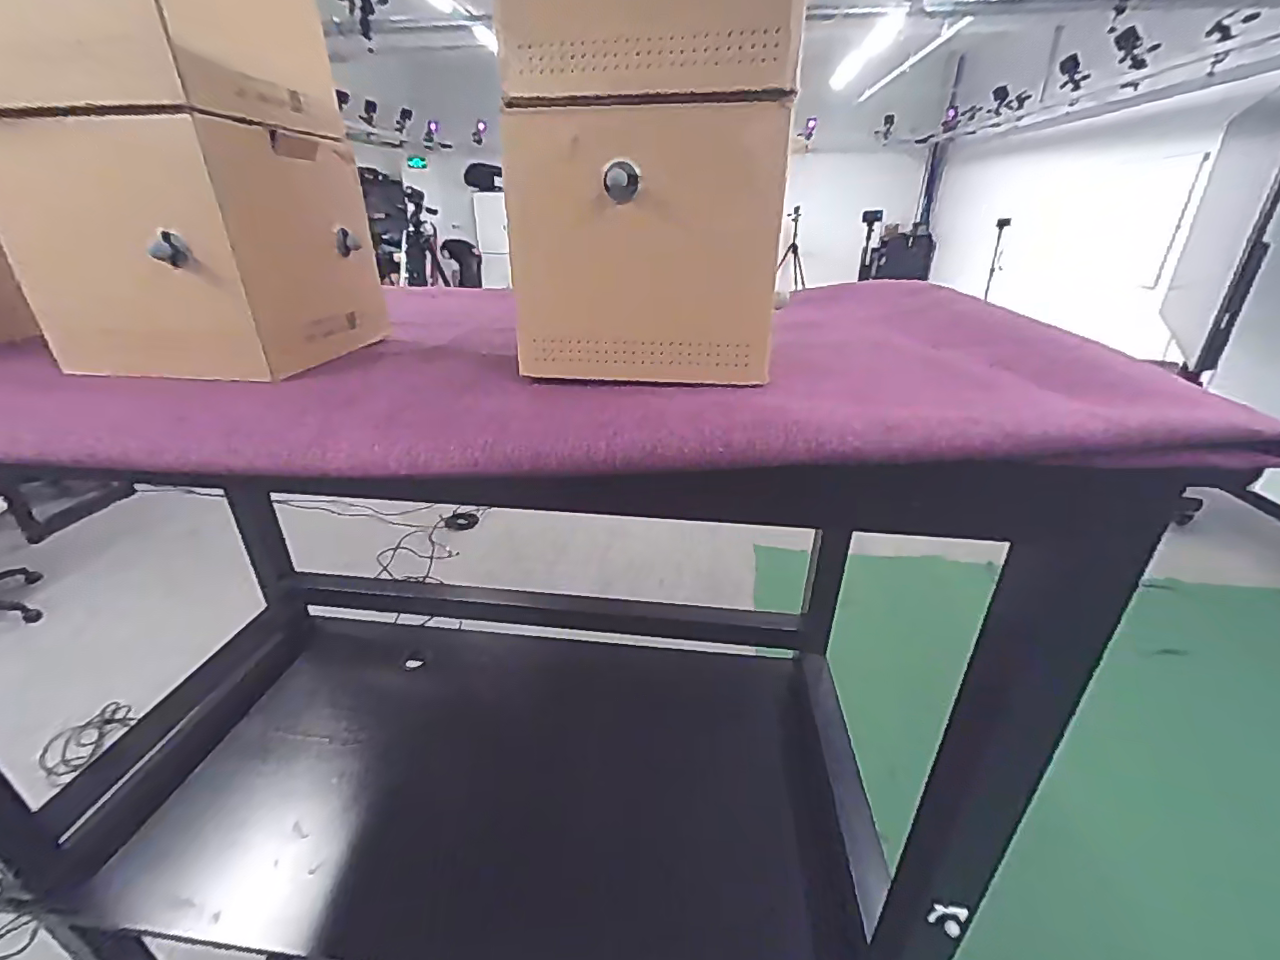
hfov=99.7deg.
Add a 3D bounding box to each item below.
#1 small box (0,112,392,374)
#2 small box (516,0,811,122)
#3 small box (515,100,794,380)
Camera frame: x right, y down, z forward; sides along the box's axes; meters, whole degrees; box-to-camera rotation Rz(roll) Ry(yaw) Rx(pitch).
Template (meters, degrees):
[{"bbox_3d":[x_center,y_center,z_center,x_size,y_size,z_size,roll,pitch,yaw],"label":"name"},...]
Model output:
[{"bbox_3d":[-0.333,-0.187,0.444,0.179,0.176,0.168,2,25,5],"label":"small box"},{"bbox_3d":[0.021,-0.329,0.364,0.179,0.176,0.168,4,24,8],"label":"small box"},{"bbox_3d":[0.016,-0.178,0.429,0.179,0.176,0.168,5,24,7],"label":"small box"}]
